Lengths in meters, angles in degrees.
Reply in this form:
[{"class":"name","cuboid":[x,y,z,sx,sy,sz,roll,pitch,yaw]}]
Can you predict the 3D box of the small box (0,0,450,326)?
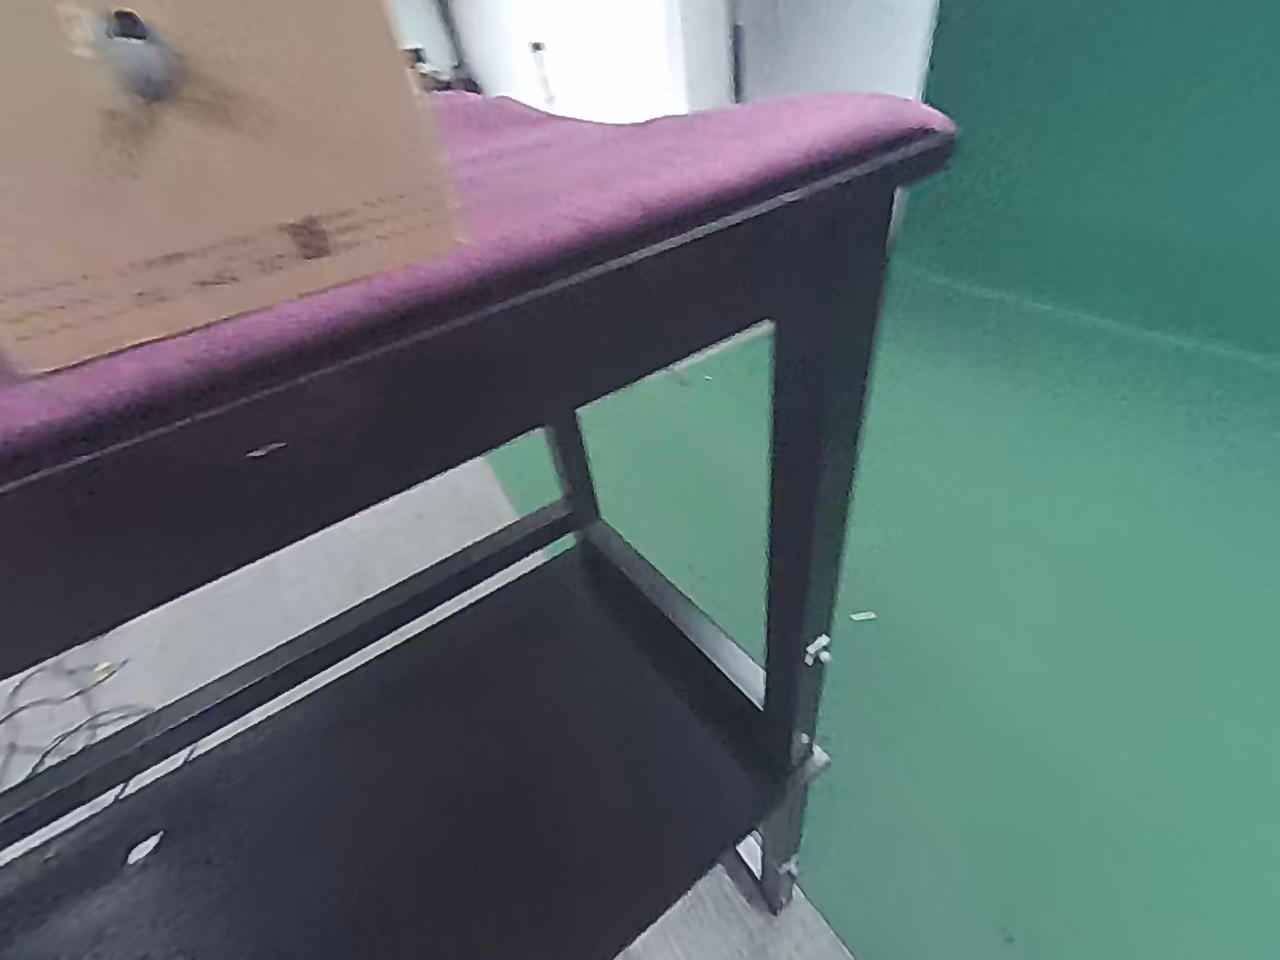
[{"class":"small box","cuboid":[-0.201,-0.181,0.221,0.168,0.176,0.179,-28,44,-21]}]
